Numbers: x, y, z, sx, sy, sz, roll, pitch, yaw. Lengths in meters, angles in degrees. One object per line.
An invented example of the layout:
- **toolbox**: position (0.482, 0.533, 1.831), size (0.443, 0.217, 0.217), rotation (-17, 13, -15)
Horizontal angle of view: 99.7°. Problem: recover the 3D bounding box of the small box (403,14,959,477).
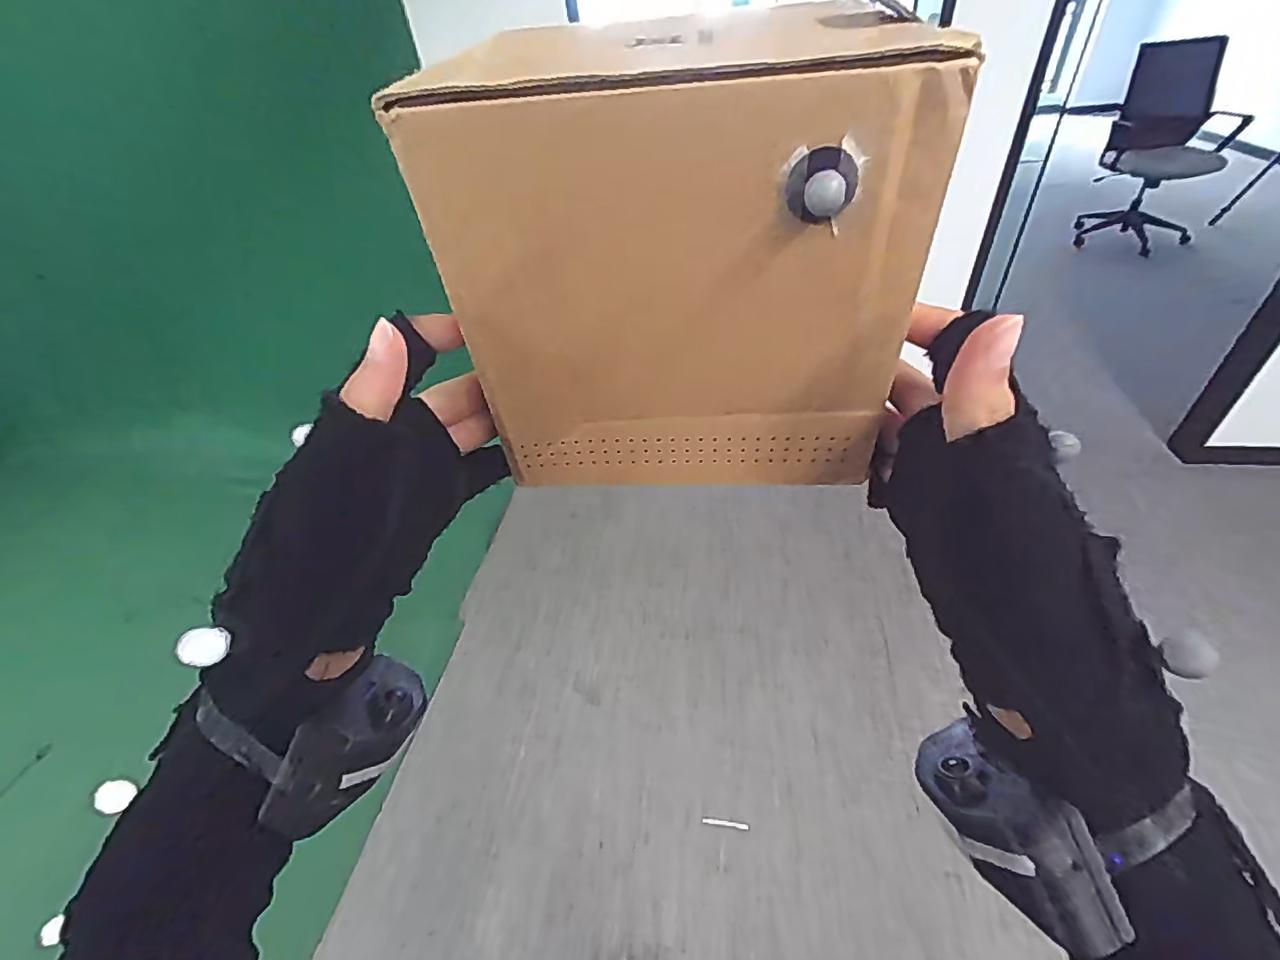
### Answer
- **small box**: position (0.021, -0.114, 0.276), size (0.179, 0.176, 0.168), rotation (0, 45, 6)
